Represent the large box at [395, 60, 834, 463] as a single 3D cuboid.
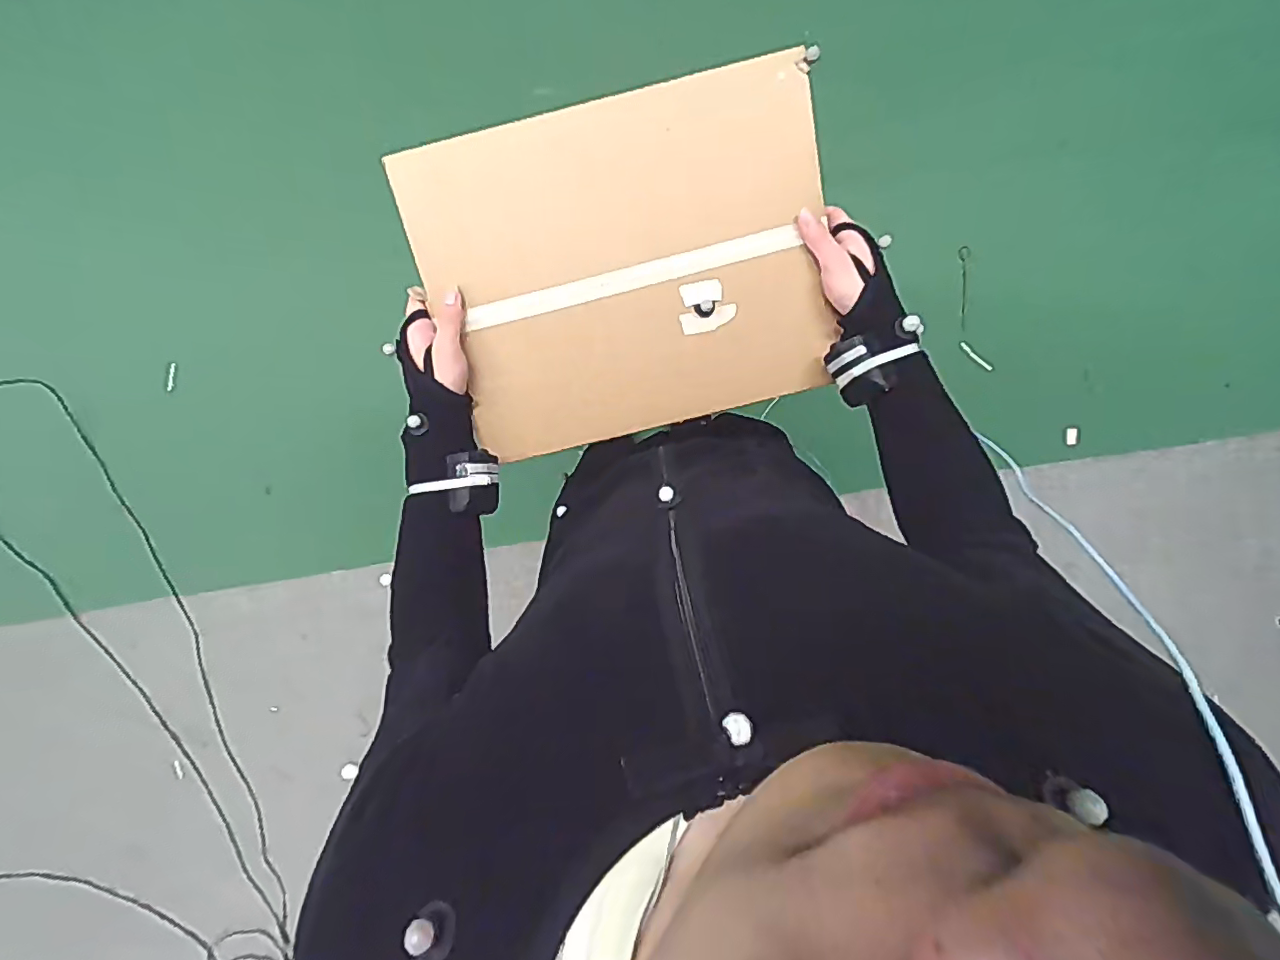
[{"bbox_3d":[-0.022,-0.248,0.702,0.408,0.320,0.320,-14,107,1],"label":"large box"}]
